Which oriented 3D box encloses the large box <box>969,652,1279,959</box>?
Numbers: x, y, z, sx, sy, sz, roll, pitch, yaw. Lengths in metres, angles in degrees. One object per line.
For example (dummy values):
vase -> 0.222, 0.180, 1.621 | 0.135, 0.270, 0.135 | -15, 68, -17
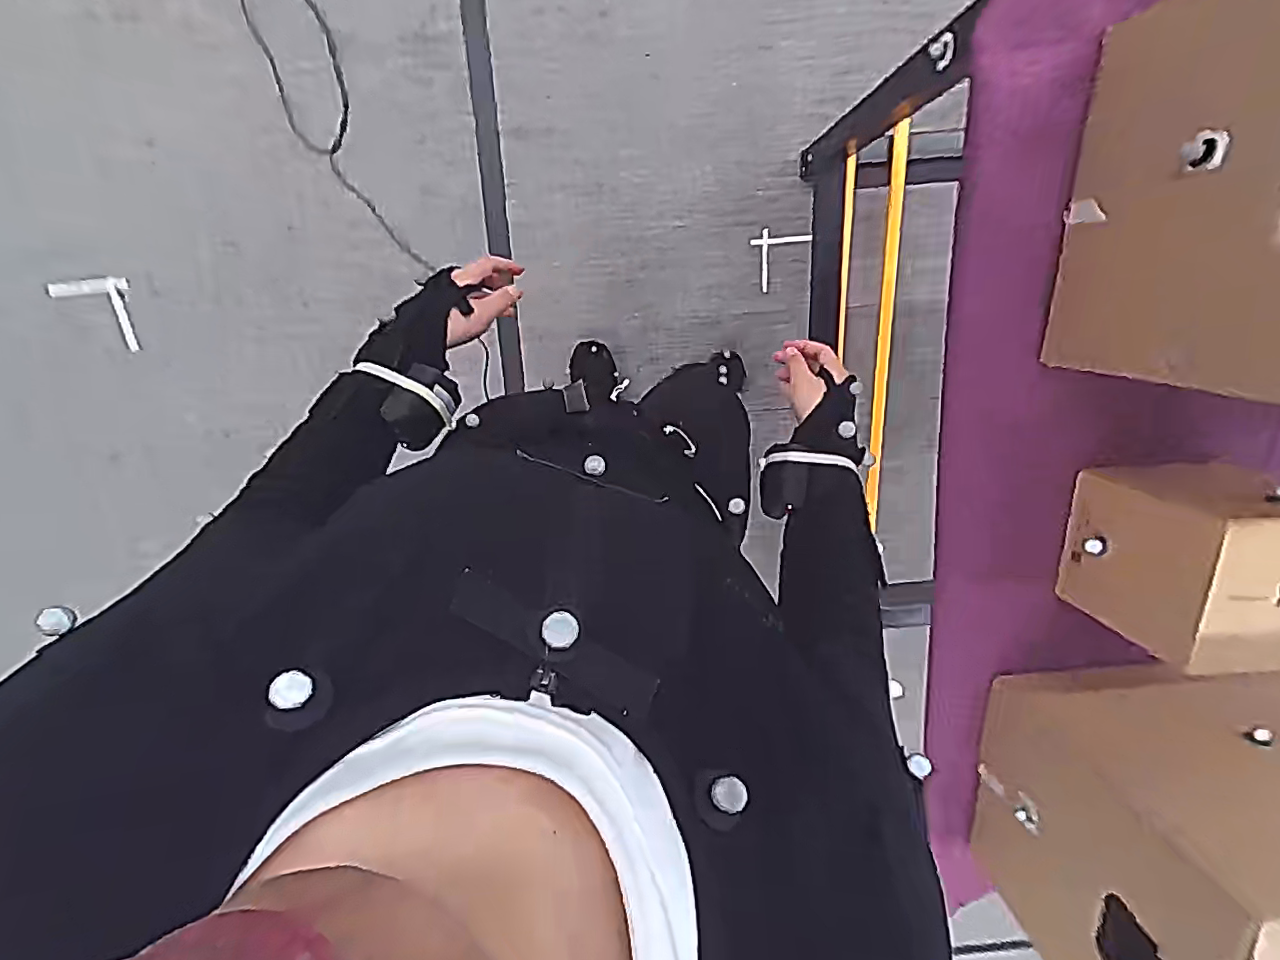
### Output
large box -> 0.678, 0.433, 0.628 | 0.408, 0.320, 0.320 | -4, 108, -3
